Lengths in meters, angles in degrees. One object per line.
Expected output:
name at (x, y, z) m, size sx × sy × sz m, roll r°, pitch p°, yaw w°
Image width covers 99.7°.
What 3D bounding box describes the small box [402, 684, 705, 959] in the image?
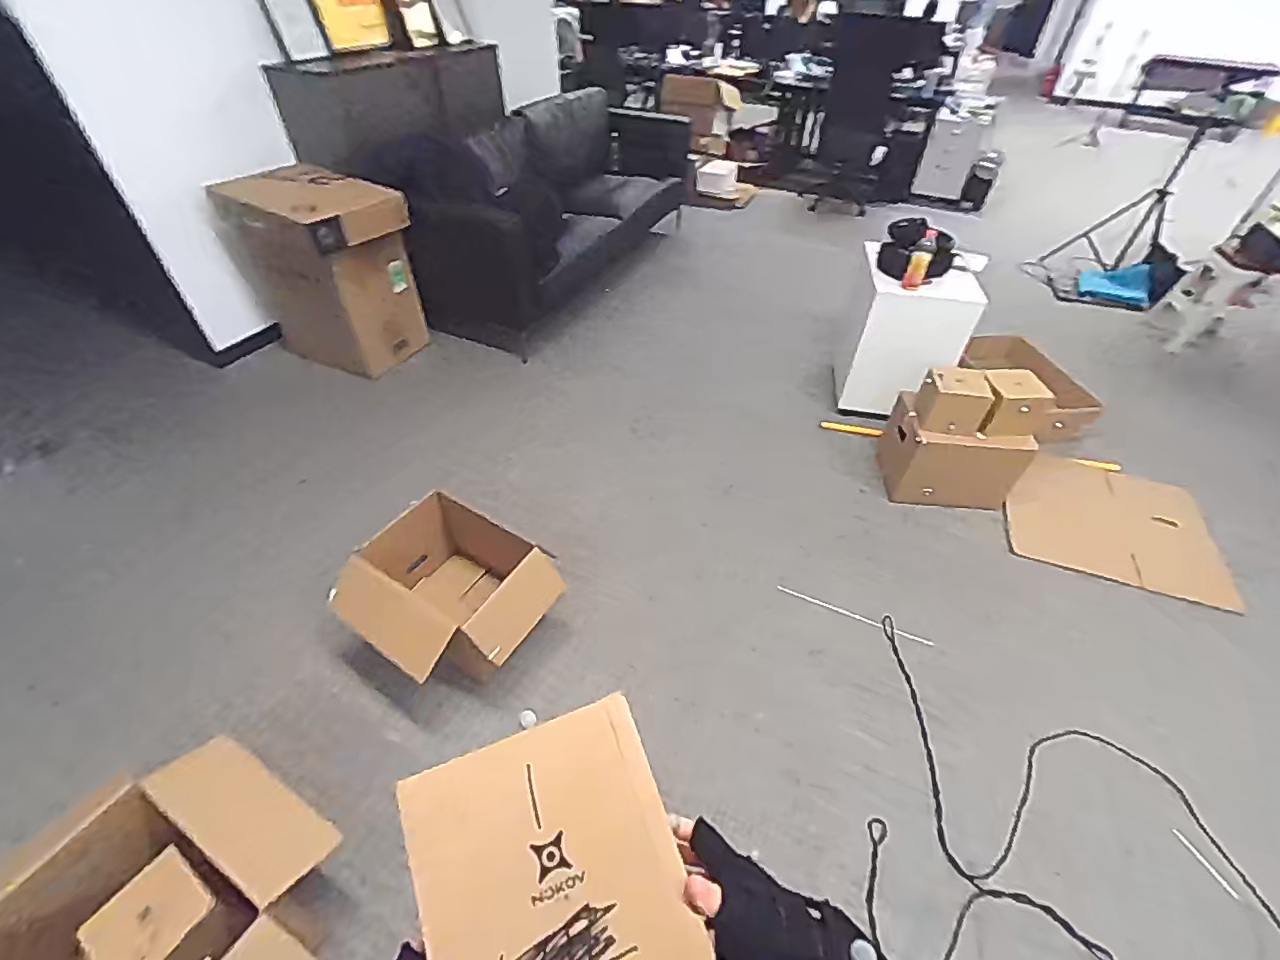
small box at (-0.069, 0.281, 0.430) m, size 0.168 × 0.176 × 0.179 m, roll -15°, pitch 68°, yaw -16°
